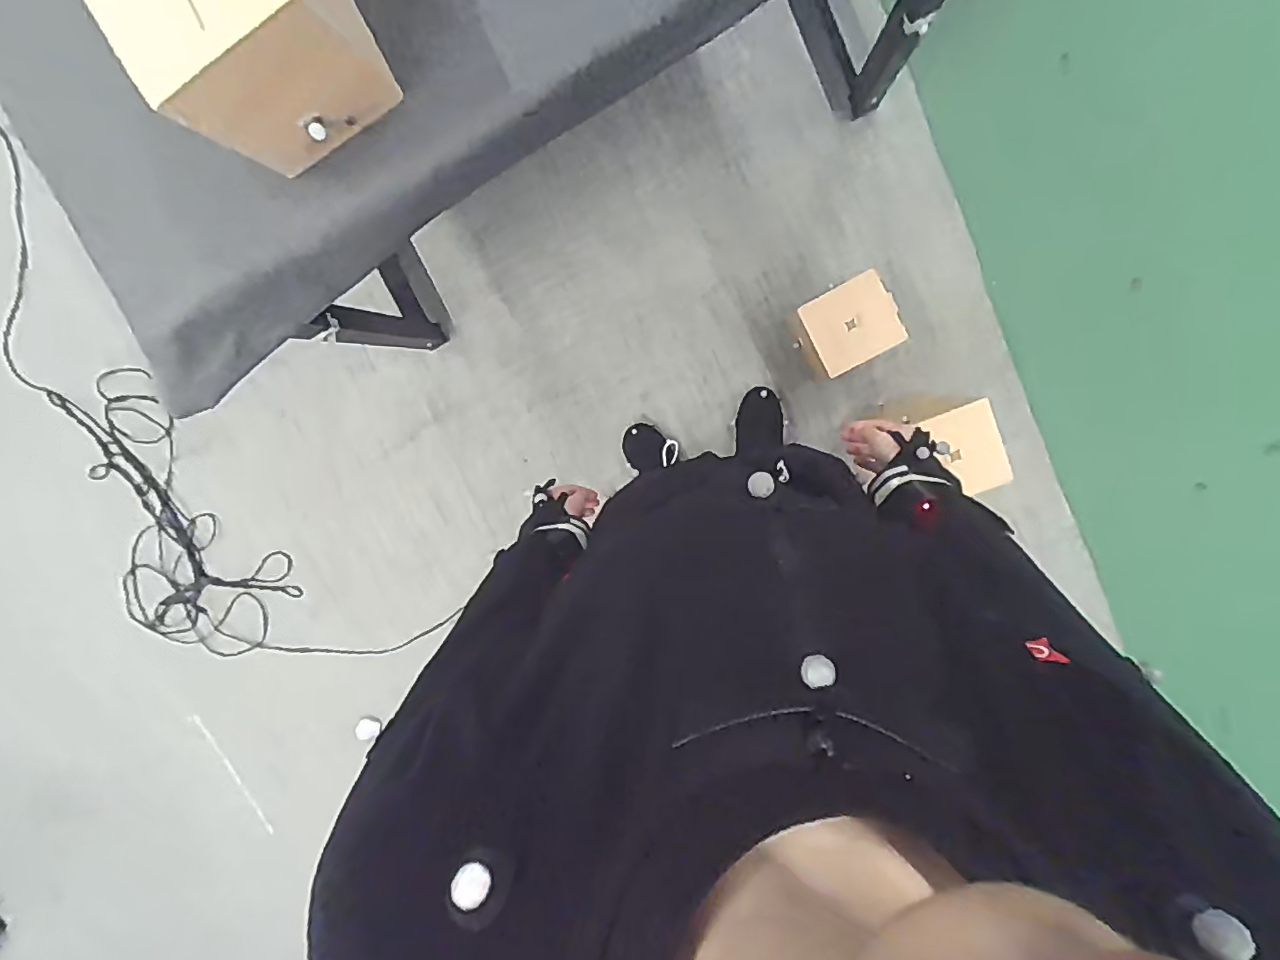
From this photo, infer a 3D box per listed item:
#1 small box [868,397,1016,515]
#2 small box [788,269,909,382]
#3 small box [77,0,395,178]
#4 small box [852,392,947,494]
[{"bbox_3d":[0.577,-0.055,1.053,0.179,0.176,0.168,-22,98,10],"label":"small box"},{"bbox_3d":[0.446,-0.330,1.185,0.179,0.176,0.168,-29,95,12],"label":"small box"},{"bbox_3d":[-0.379,-0.434,0.515,0.168,0.176,0.179,-27,97,11],"label":"small box"},{"bbox_3d":[0.593,-0.087,1.212,0.179,0.176,0.168,-24,98,12],"label":"small box"}]
